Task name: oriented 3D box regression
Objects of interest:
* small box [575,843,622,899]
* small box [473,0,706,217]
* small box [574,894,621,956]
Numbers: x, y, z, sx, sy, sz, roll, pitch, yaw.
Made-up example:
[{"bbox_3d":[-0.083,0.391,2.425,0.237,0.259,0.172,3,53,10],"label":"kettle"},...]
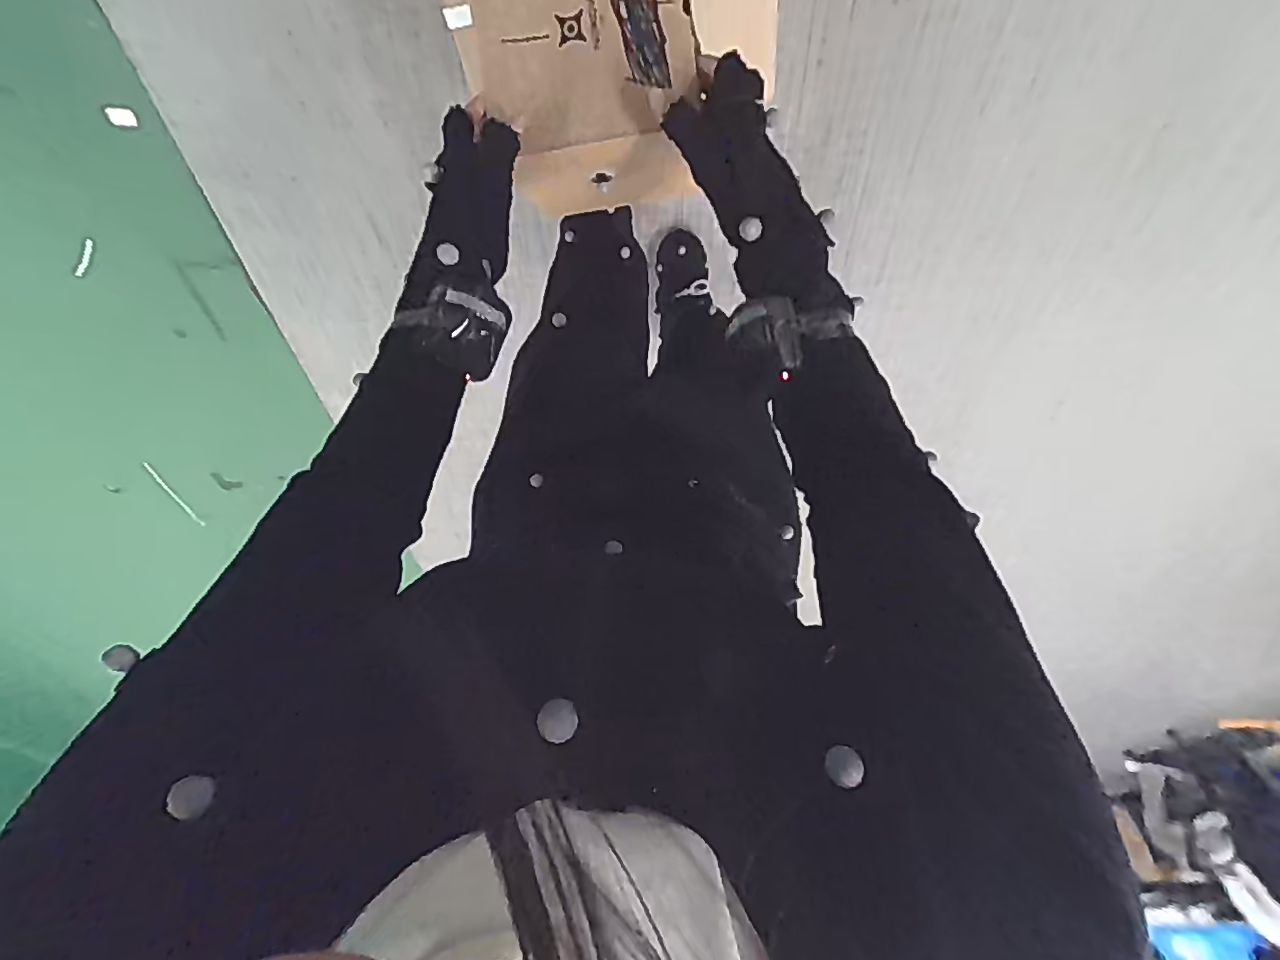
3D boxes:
[{"bbox_3d":[-0.160,1.564,2.158,0.179,0.176,0.168,0,135,2],"label":"small box"},{"bbox_3d":[-0.034,-0.364,0.505,0.179,0.176,0.168,-6,101,8],"label":"small box"},{"bbox_3d":[-0.158,1.679,2.041,0.168,0.176,0.179,0,135,1],"label":"small box"}]
